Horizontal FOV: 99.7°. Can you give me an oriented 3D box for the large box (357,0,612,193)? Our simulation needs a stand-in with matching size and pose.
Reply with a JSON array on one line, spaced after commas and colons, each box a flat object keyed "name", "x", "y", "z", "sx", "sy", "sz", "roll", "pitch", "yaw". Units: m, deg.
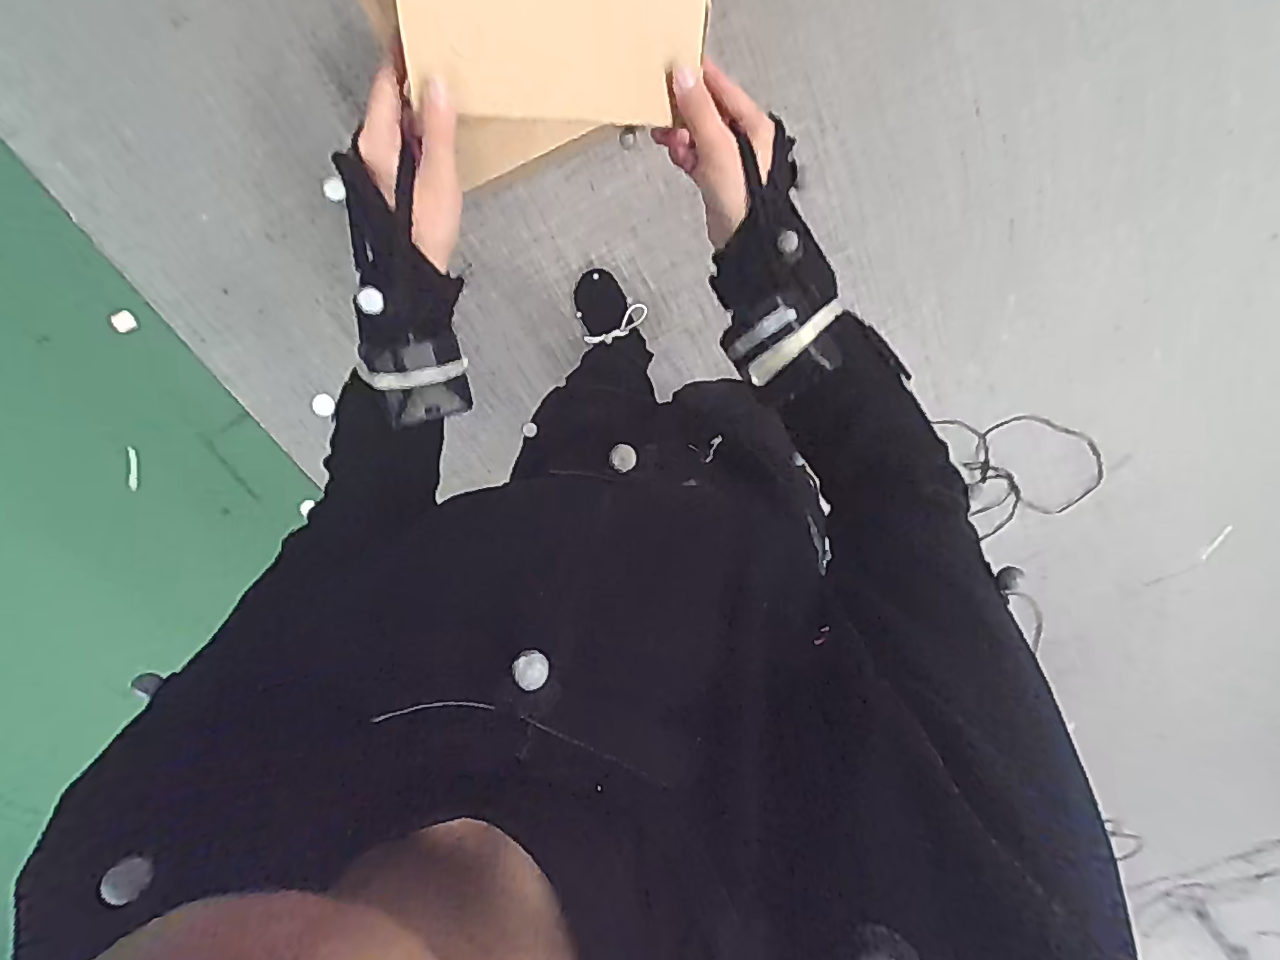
[{"name": "large box", "x": -0.179, "y": -0.716, "z": 0.882, "sx": 0.408, "sy": 0.320, "sz": 0.320, "roll": -24, "pitch": 118, "yaw": 5}]

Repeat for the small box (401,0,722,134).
[{"name": "small box", "x": -0.058, "y": -0.323, "z": 0.340, "sx": 0.179, "sy": 0.176, "sz": 0.168, "roll": -7, "pitch": 127, "yaw": -16}]
